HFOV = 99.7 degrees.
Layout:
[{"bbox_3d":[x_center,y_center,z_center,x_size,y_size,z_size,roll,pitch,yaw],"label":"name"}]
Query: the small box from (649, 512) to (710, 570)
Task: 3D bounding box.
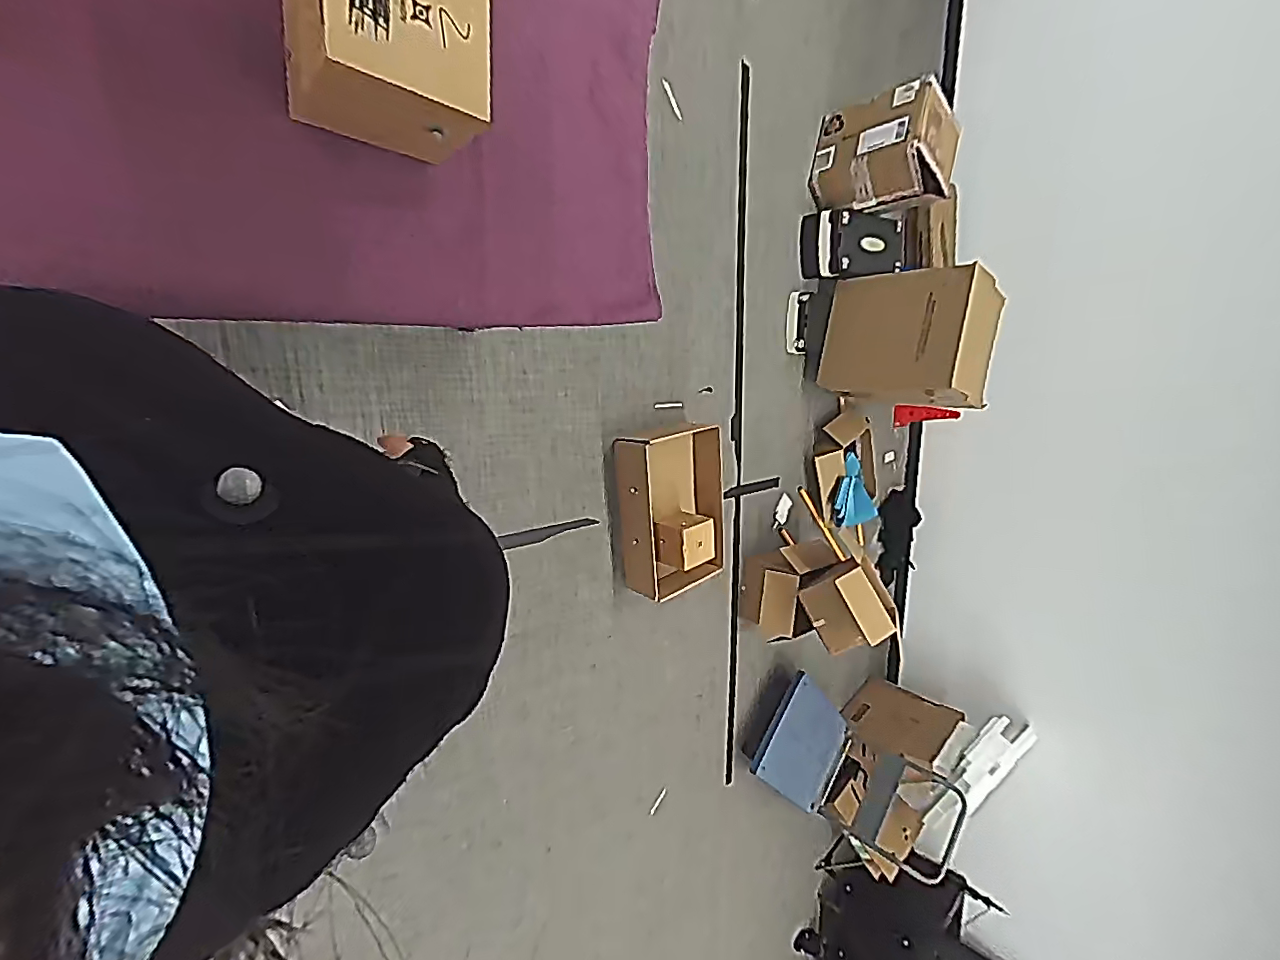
[{"bbox_3d":[0.156,0.233,2.125,0.179,0.176,0.168,-16,109,-40],"label":"small box"}]
